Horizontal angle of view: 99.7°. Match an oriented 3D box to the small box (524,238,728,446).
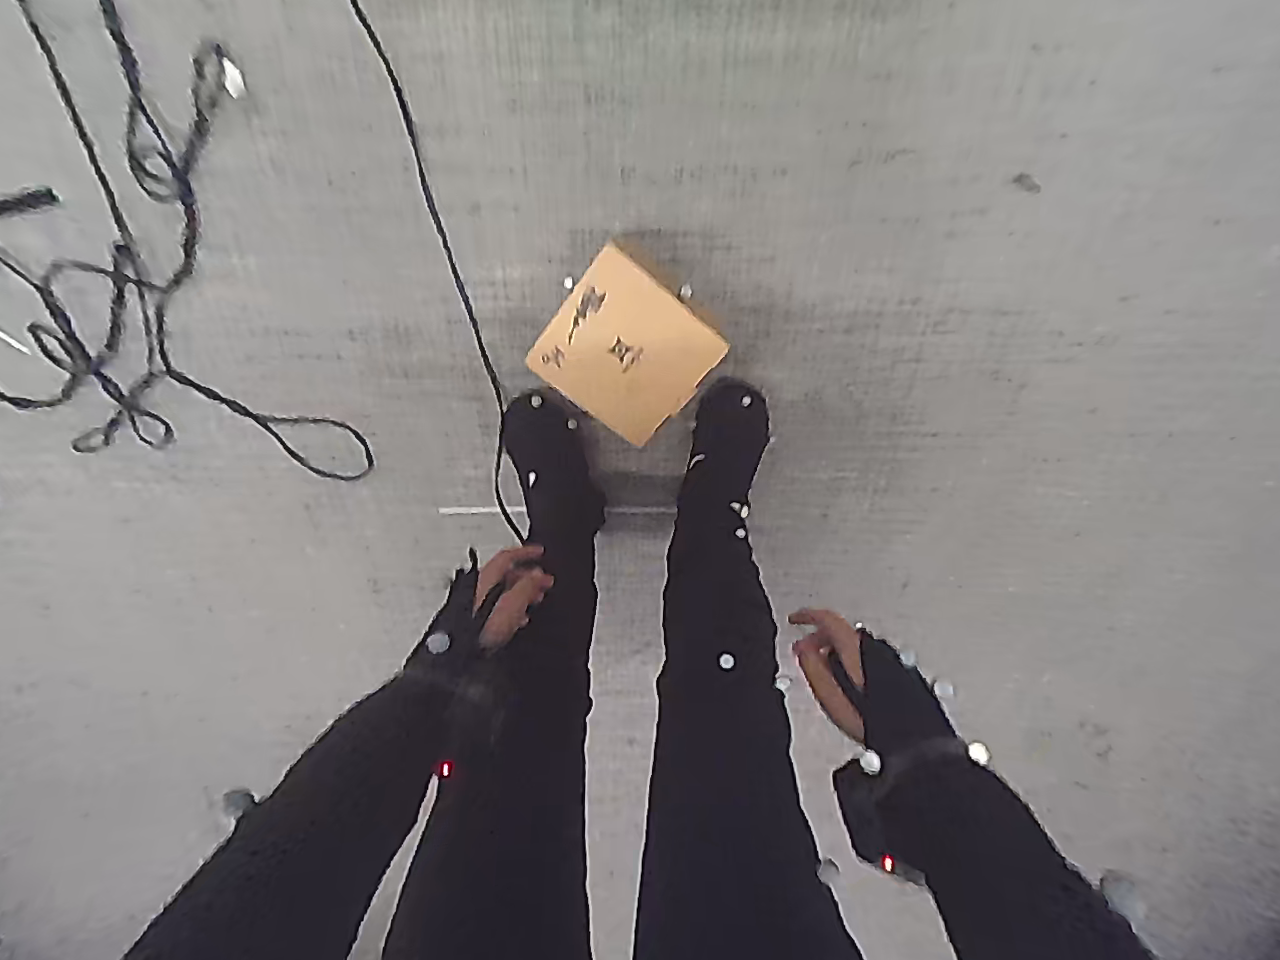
[{"bbox_3d":[-0.014,-0.181,0.680,0.179,0.176,0.168,36,113,-17],"label":"small box"}]
